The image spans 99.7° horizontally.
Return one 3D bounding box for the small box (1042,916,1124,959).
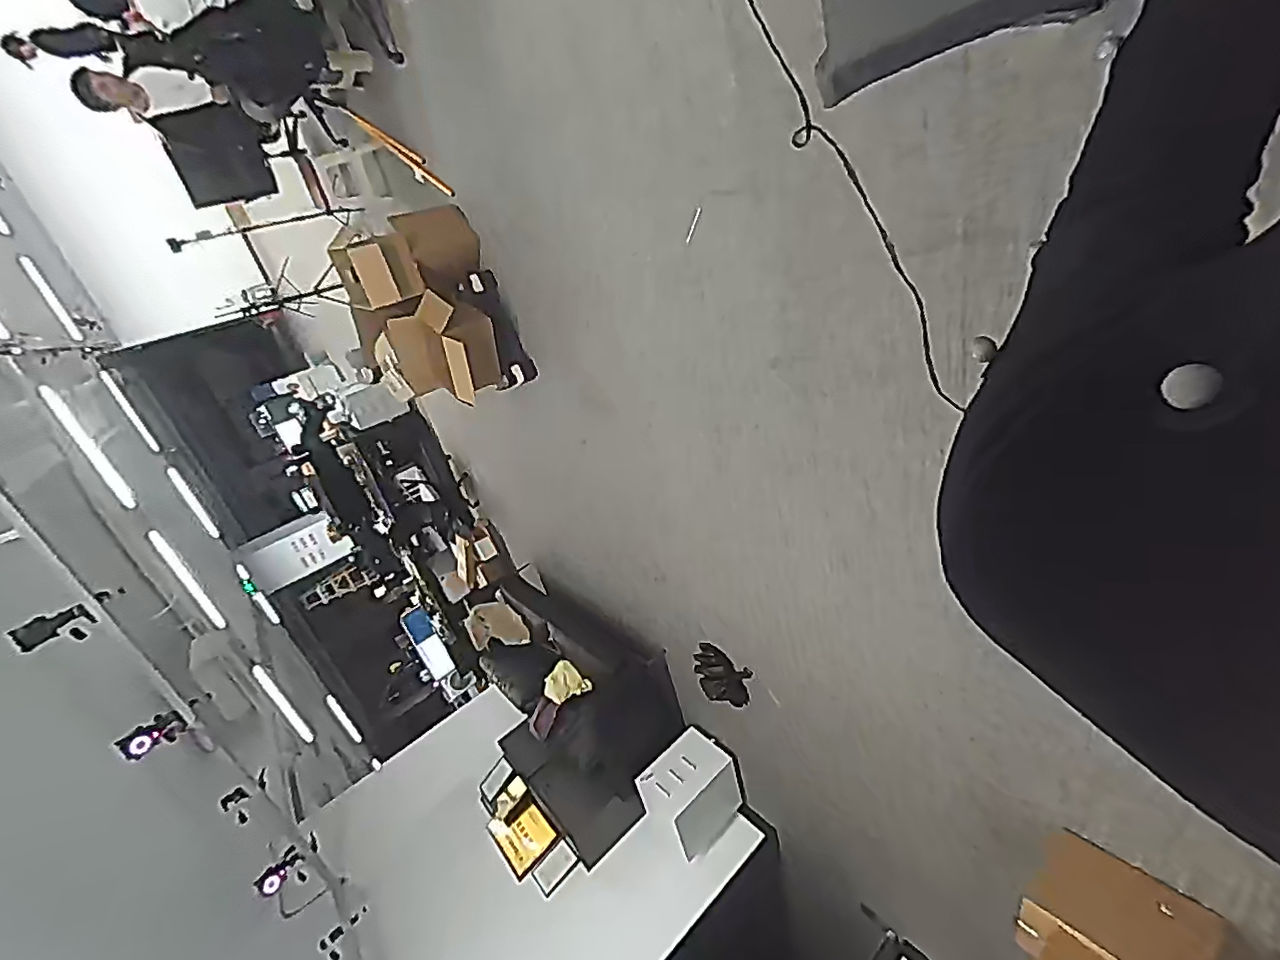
[{"bbox_3d":[1.314,1.464,1.602,0.179,0.176,0.168,25,135,46],"label":"small box"}]
